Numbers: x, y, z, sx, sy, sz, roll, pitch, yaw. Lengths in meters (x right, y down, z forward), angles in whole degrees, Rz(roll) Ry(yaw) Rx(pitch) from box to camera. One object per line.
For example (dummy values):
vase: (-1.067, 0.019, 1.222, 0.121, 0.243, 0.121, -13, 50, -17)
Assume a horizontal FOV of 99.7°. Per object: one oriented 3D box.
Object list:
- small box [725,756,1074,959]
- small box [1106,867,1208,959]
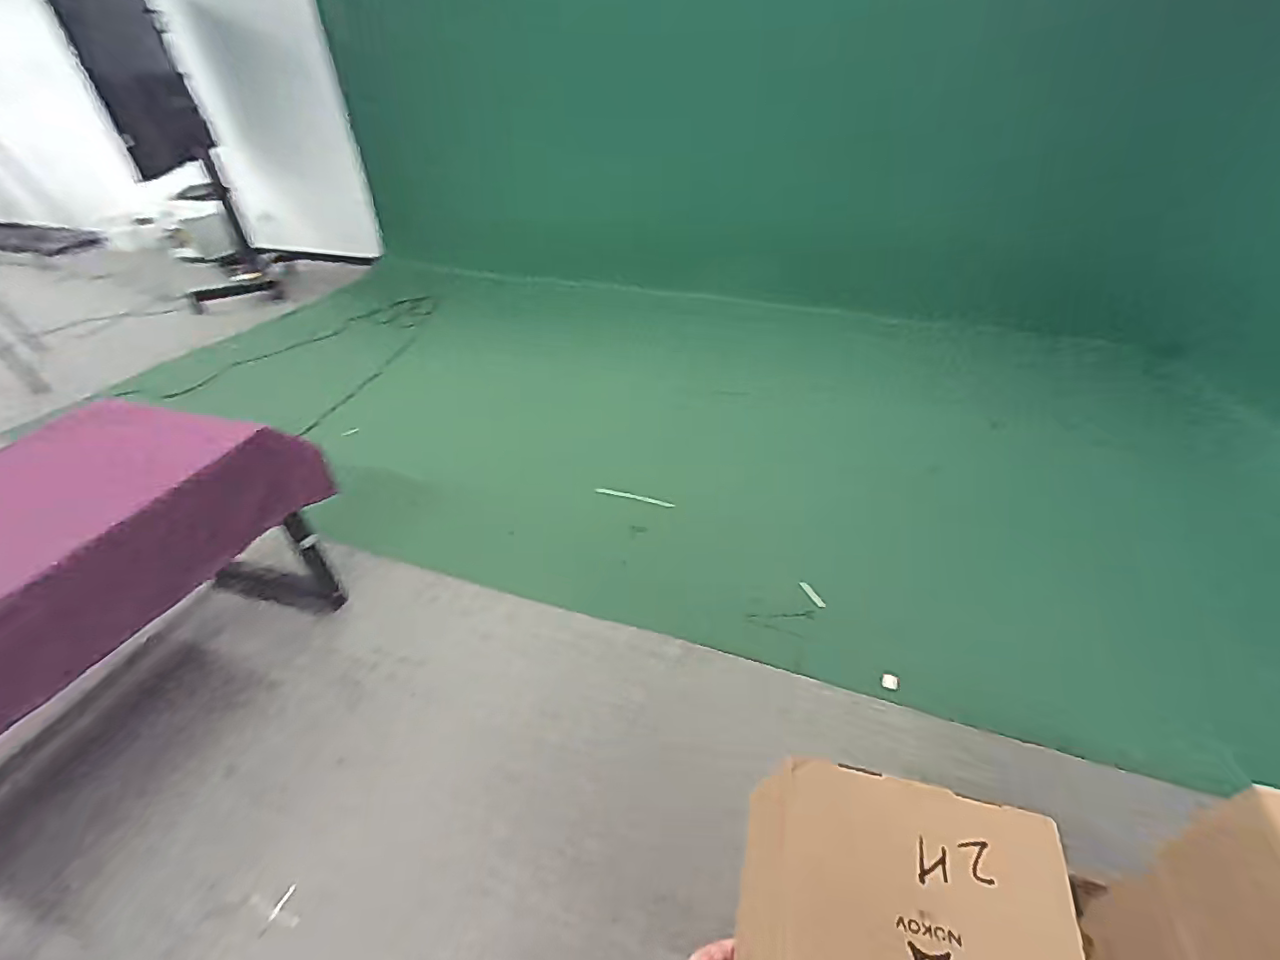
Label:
small box: (0.152, 0.312, 0.359, 0.168, 0.176, 0.179, 11, 52, 7)
small box: (0.641, 0.554, 0.568, 0.179, 0.176, 0.168, 10, 40, 14)
